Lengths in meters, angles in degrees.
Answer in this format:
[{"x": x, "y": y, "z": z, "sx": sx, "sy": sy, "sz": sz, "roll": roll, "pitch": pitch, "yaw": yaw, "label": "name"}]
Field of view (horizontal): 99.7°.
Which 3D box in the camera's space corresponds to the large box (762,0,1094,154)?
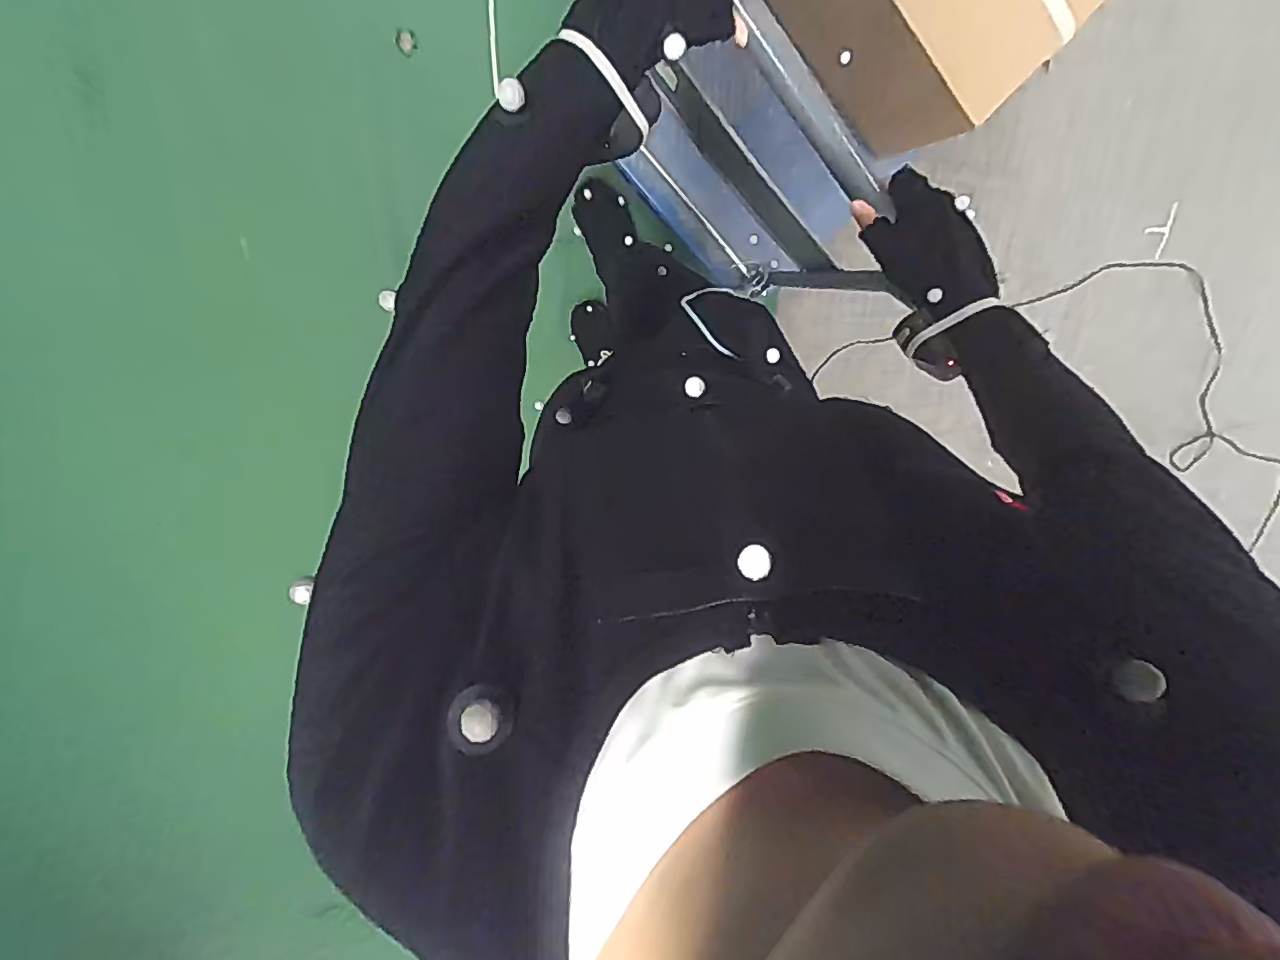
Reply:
[{"x": 0.457, "y": -0.822, "z": 0.866, "sx": 0.408, "sy": 0.320, "sz": 0.320, "roll": 40, "pitch": 104, "yaw": -18, "label": "large box"}]
